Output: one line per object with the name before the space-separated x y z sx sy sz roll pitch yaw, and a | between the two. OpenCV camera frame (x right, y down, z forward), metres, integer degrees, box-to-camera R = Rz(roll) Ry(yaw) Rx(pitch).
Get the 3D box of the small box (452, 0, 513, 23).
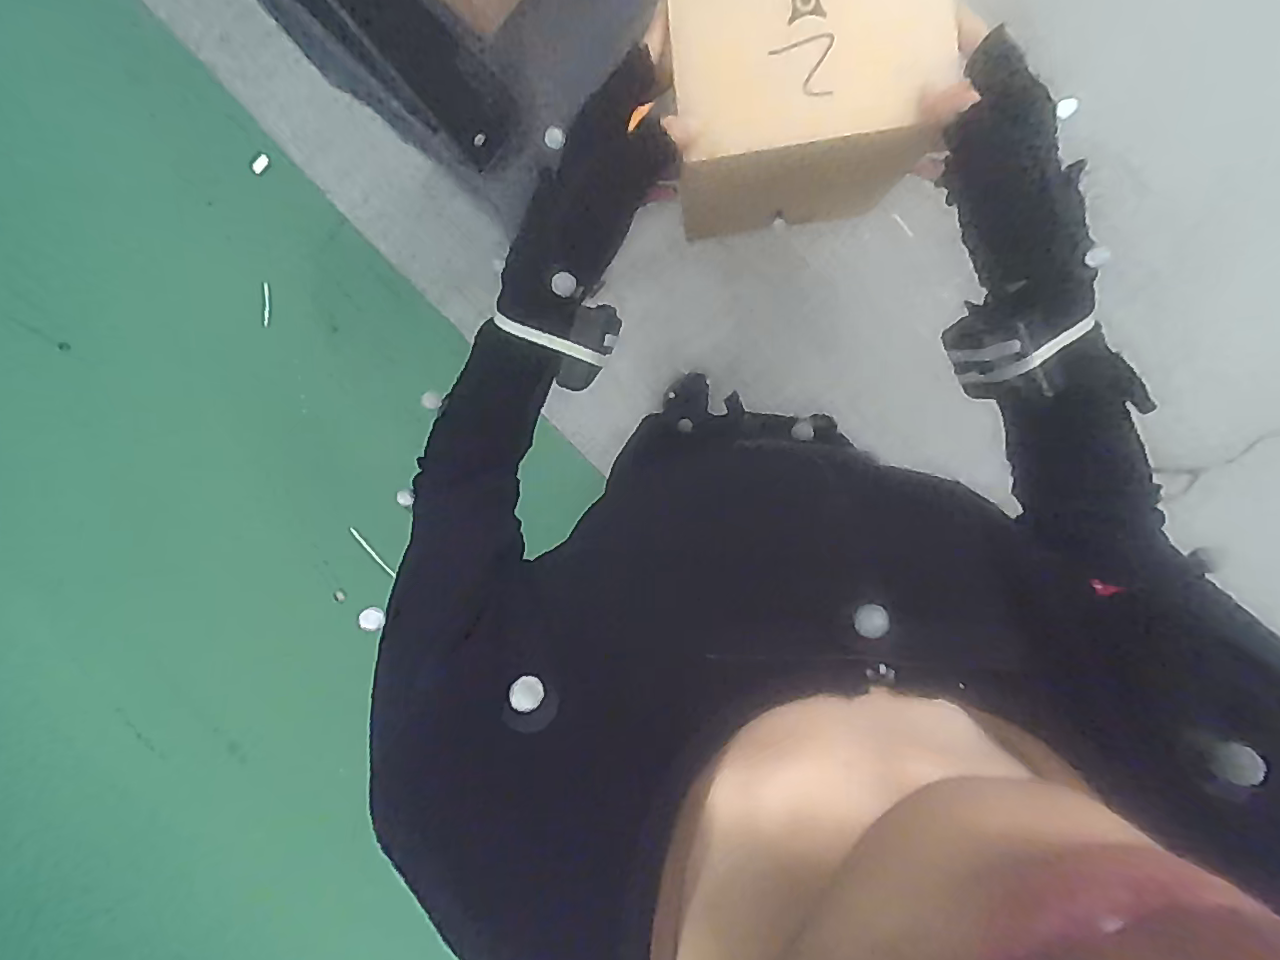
small box | -0.213 -0.680 0.602 0.179 0.176 0.168 43 99 0
